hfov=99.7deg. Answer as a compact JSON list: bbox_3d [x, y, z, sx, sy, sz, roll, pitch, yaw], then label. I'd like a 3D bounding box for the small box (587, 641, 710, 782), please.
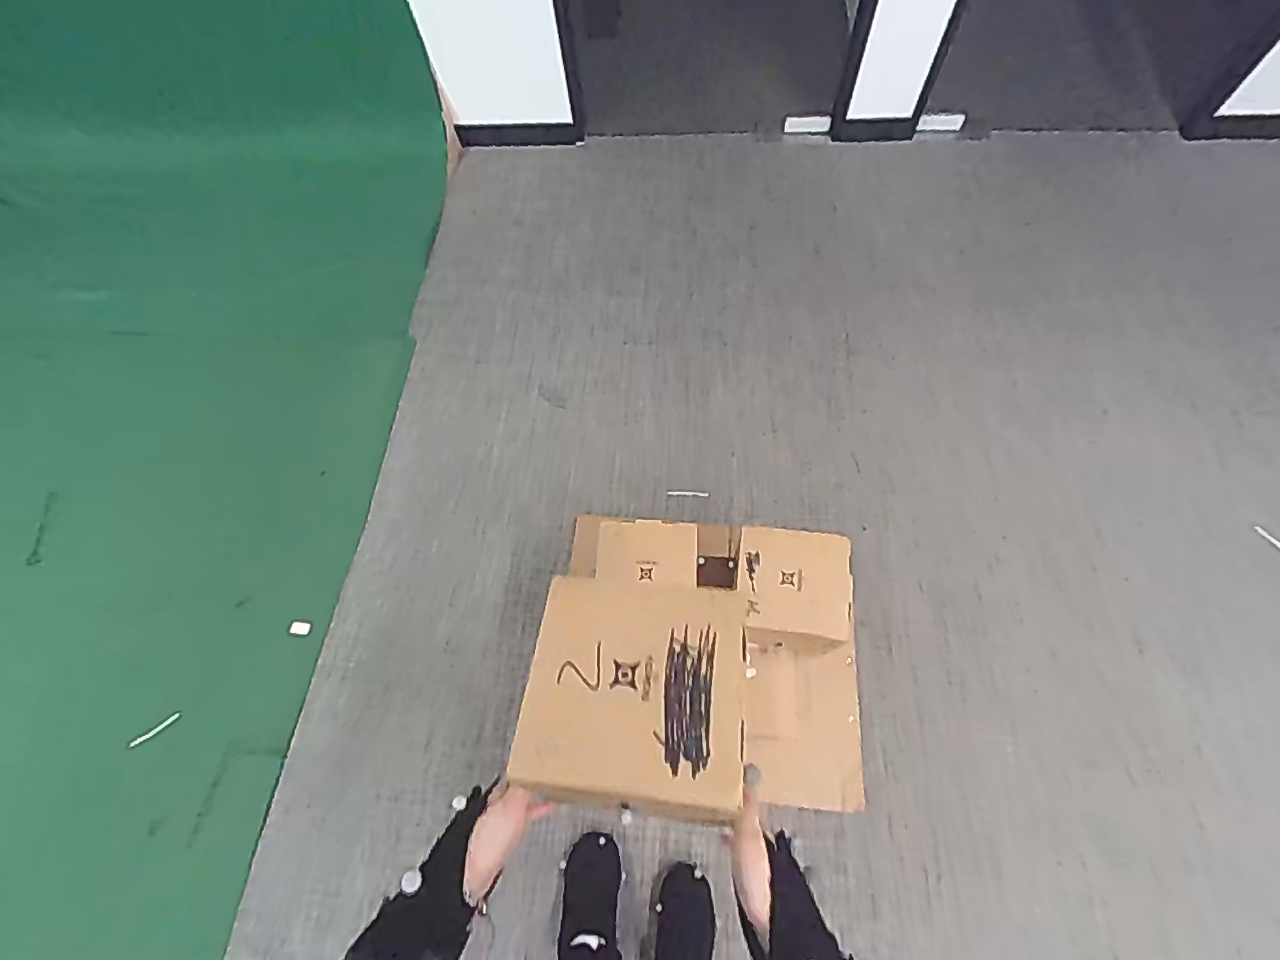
[{"bbox_3d":[0.018,0.363,0.860,0.168,0.176,0.179,5,68,5],"label":"small box"}]

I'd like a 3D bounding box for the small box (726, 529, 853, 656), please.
[{"bbox_3d":[0.247,0.196,0.917,0.179,0.176,0.168,7,66,8],"label":"small box"}]
